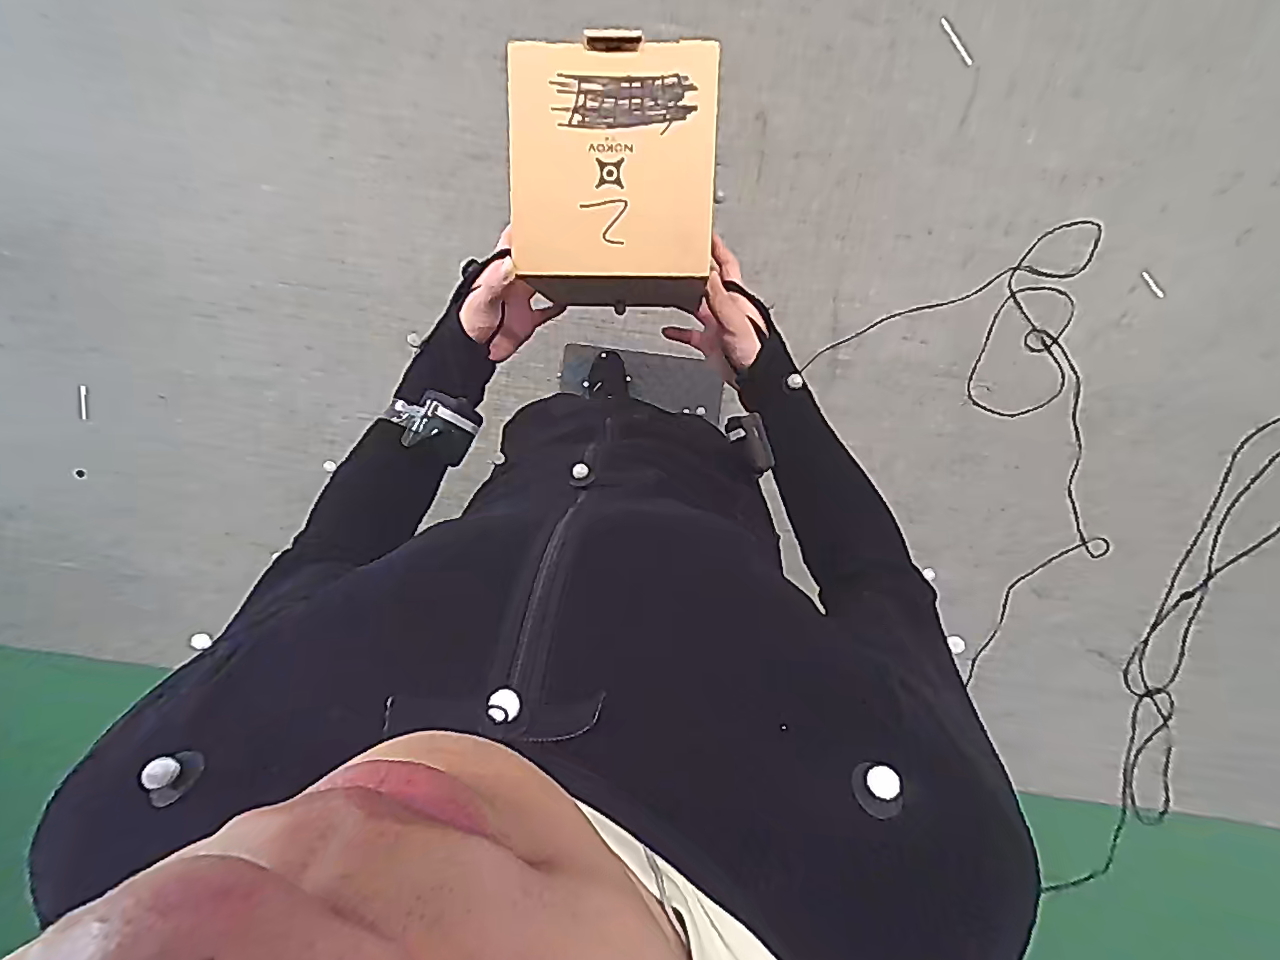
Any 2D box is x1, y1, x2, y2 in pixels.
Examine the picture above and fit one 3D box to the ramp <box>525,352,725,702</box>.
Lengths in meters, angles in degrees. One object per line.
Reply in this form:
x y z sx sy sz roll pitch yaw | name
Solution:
-0.044 0.134 1.612 0.509 0.206 0.991 6 99 2 | ramp
